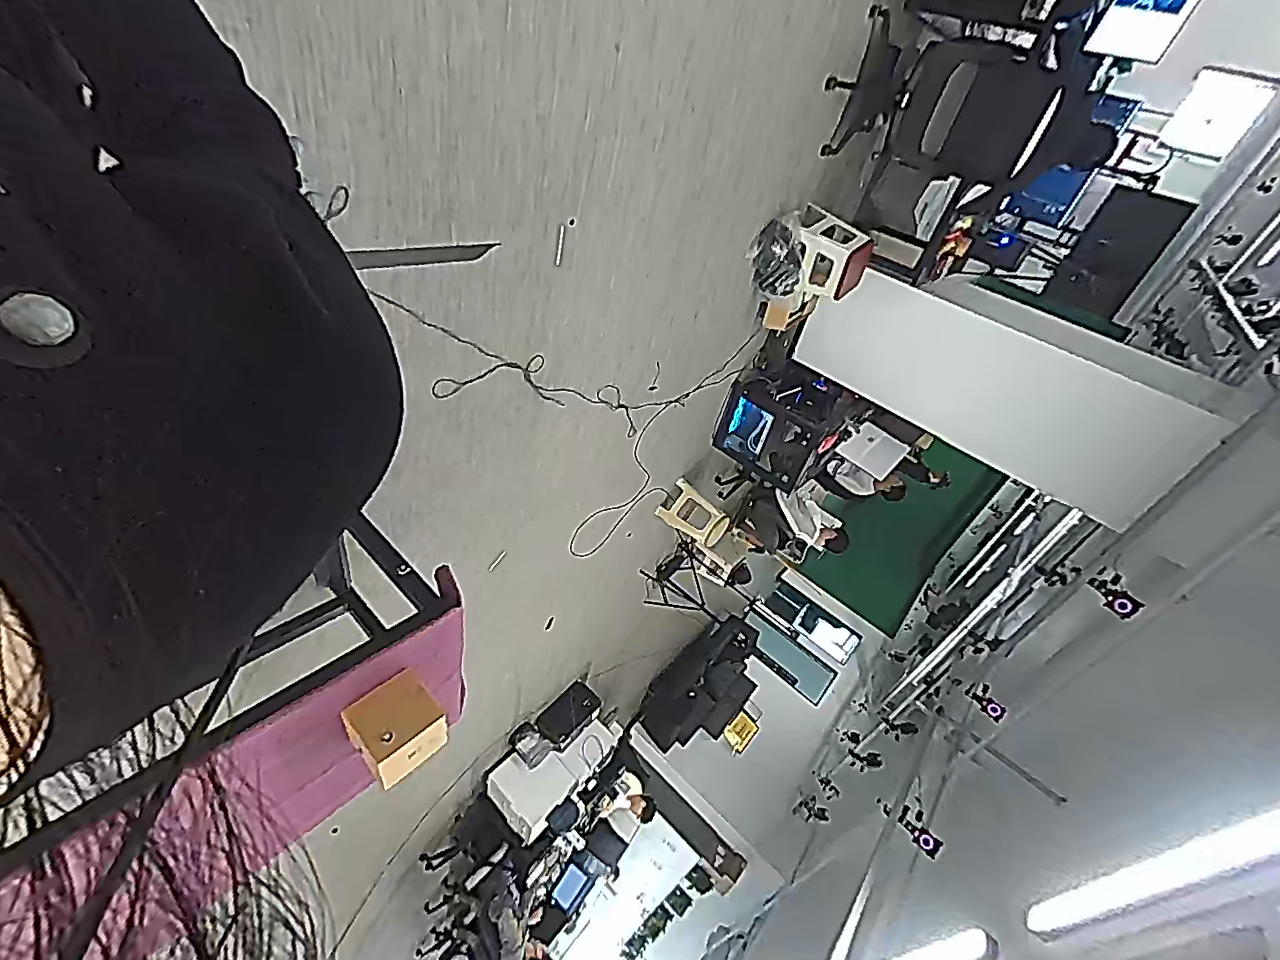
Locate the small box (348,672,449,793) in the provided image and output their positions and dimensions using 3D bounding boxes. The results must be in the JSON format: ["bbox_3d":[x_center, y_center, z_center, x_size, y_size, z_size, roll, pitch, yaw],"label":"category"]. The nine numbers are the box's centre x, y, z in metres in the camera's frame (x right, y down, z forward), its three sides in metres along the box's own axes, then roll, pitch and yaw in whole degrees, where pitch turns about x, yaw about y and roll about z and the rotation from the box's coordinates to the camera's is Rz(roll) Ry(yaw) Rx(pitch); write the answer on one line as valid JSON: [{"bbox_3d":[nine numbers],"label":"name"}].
[{"bbox_3d":[-0.602,0.622,1.345,0.179,0.176,0.168,-31,149,-41],"label":"small box"}]
